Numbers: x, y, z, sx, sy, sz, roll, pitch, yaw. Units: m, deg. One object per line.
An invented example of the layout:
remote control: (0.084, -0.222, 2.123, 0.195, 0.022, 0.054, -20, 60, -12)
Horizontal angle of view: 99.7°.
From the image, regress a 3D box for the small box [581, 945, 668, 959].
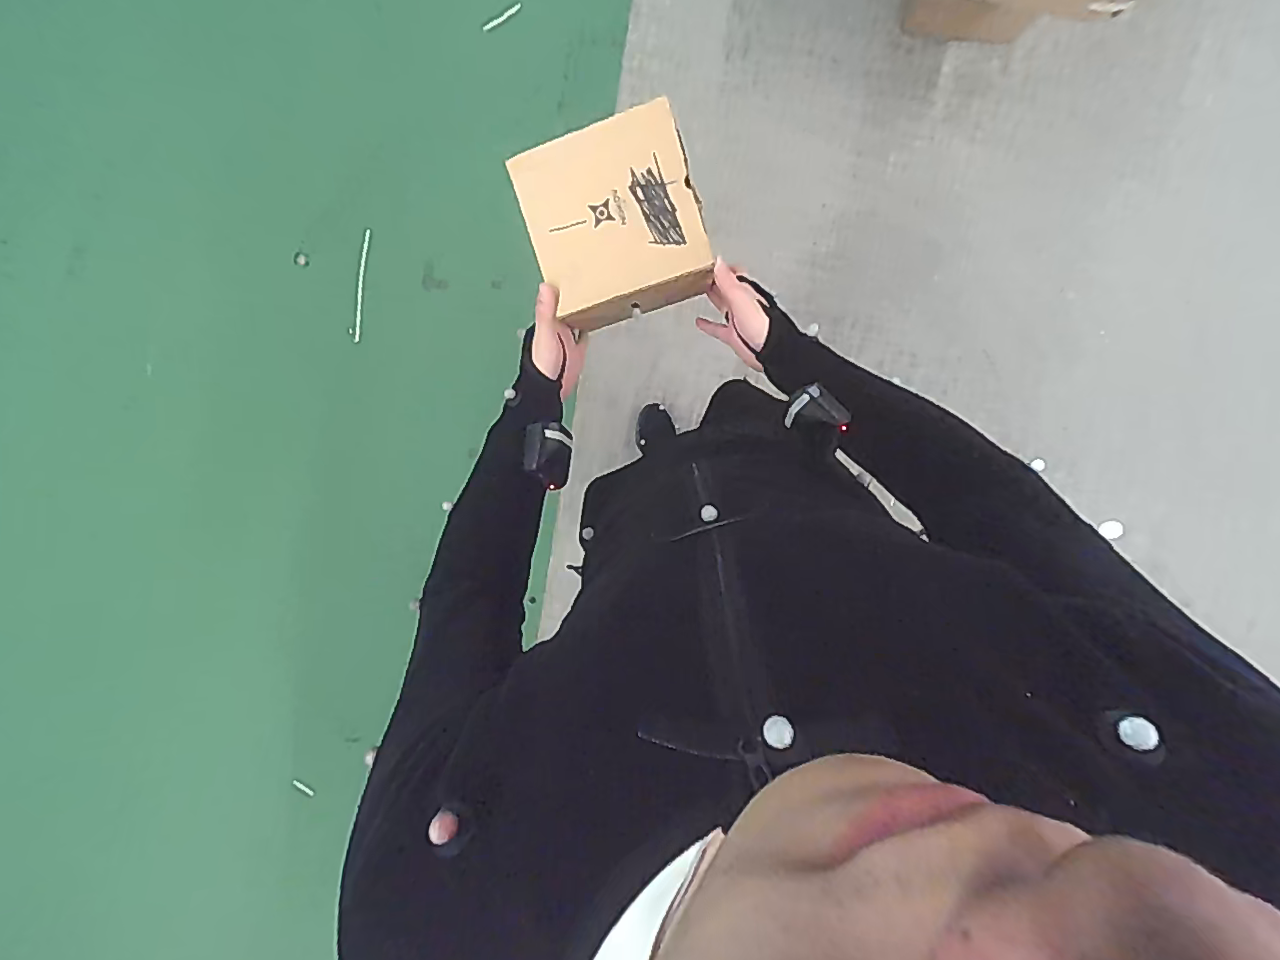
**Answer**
small box: (-0.040, 0.958, 0.931, 0.179, 0.176, 0.168, 13, 97, -3)

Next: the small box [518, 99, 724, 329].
small box: (-0.013, -0.284, 0.622, 0.179, 0.176, 0.168, -16, 98, 8)
